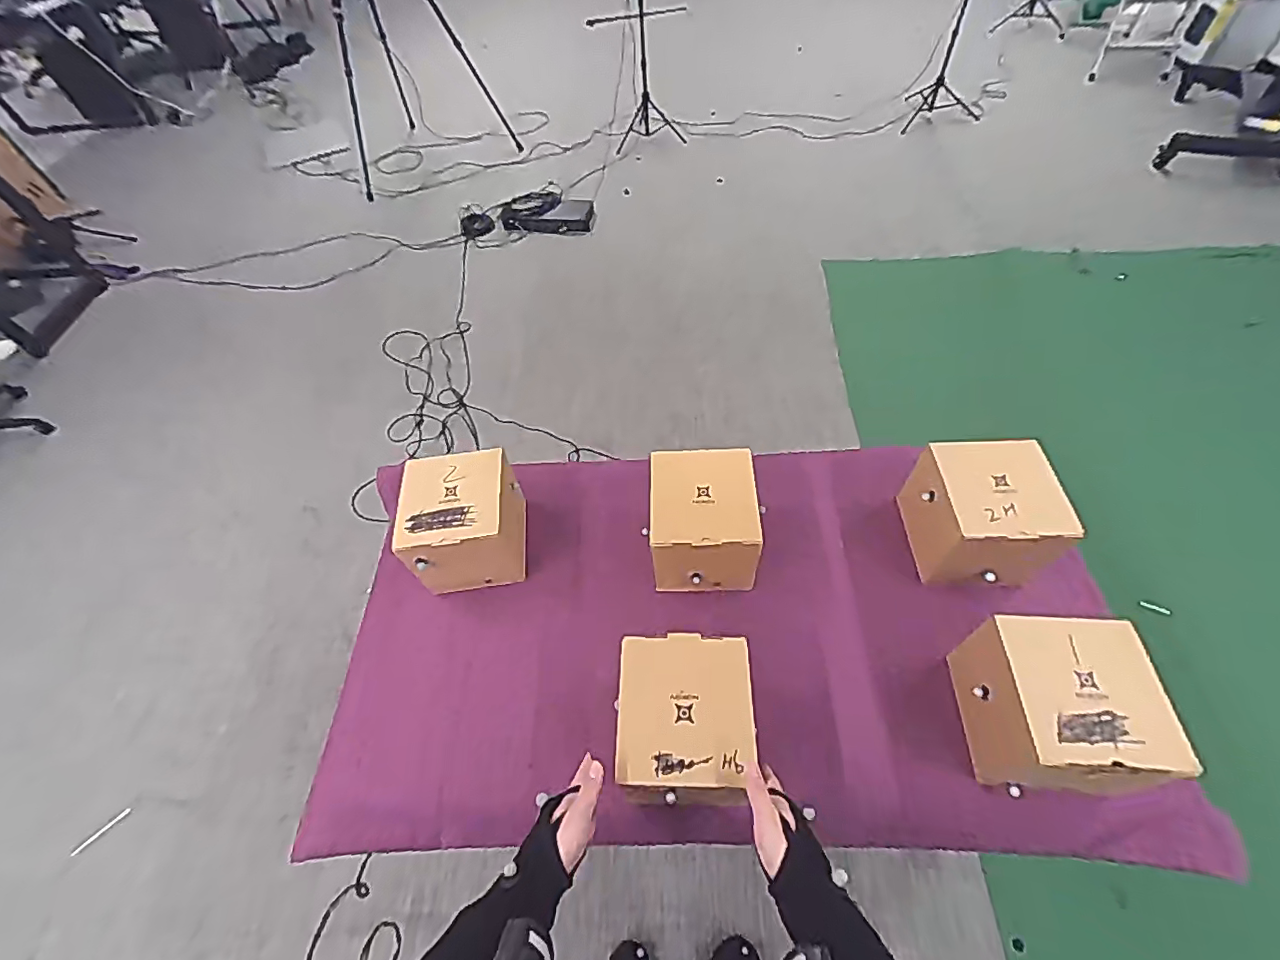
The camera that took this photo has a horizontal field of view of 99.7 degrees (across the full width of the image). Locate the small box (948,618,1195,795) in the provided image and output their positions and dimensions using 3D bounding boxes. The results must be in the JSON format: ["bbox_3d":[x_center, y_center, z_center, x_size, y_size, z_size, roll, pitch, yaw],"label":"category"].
[{"bbox_3d":[0.533,0.298,0.704,0.168,0.176,0.179,2,53,6],"label":"small box"}]

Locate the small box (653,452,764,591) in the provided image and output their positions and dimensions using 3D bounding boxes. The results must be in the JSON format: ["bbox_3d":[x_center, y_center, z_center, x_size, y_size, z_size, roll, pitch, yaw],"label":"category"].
[{"bbox_3d":[0.105,0.071,0.901,0.168,0.176,0.179,-1,56,3],"label":"small box"}]

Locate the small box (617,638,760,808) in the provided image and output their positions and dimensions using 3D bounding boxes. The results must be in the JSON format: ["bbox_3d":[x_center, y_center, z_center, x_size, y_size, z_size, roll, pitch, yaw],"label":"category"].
[{"bbox_3d":[0.063,0.326,0.724,0.168,0.176,0.179,-1,54,5],"label":"small box"}]

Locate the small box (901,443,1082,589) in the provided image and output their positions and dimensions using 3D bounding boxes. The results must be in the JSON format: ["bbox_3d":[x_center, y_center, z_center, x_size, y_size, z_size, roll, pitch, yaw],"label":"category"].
[{"bbox_3d":[0.544,0.059,0.871,0.168,0.176,0.179,-1,56,5],"label":"small box"}]
